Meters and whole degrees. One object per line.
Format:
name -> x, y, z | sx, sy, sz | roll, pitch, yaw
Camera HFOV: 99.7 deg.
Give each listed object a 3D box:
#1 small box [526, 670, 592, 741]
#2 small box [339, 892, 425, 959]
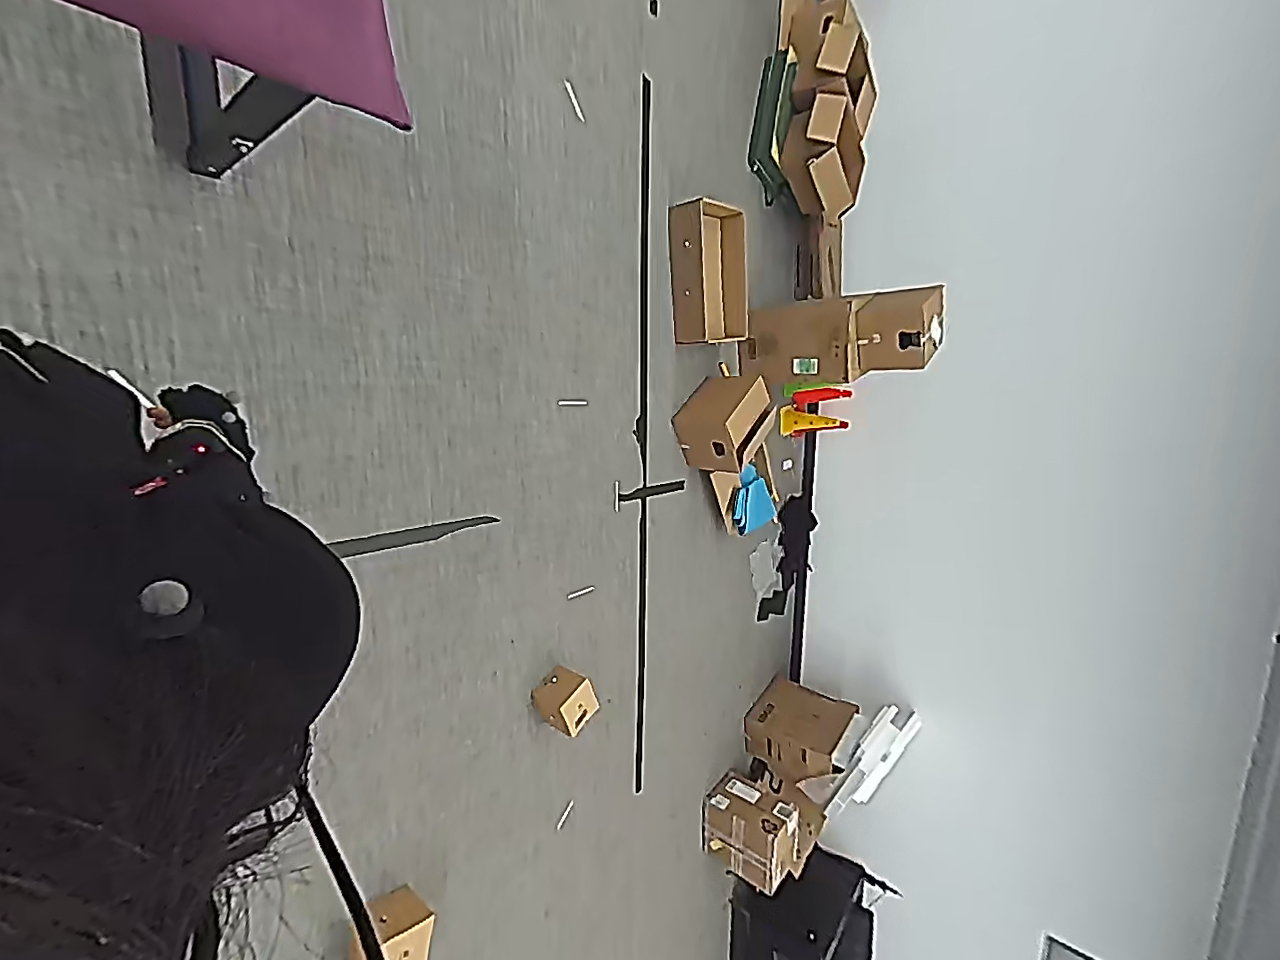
small box -> -0.324, 0.895, 2.164 | 0.168, 0.176, 0.179 | -40, 125, -41
small box -> -0.799, 1.433, 1.666 | 0.179, 0.176, 0.168 | 10, 90, -53
